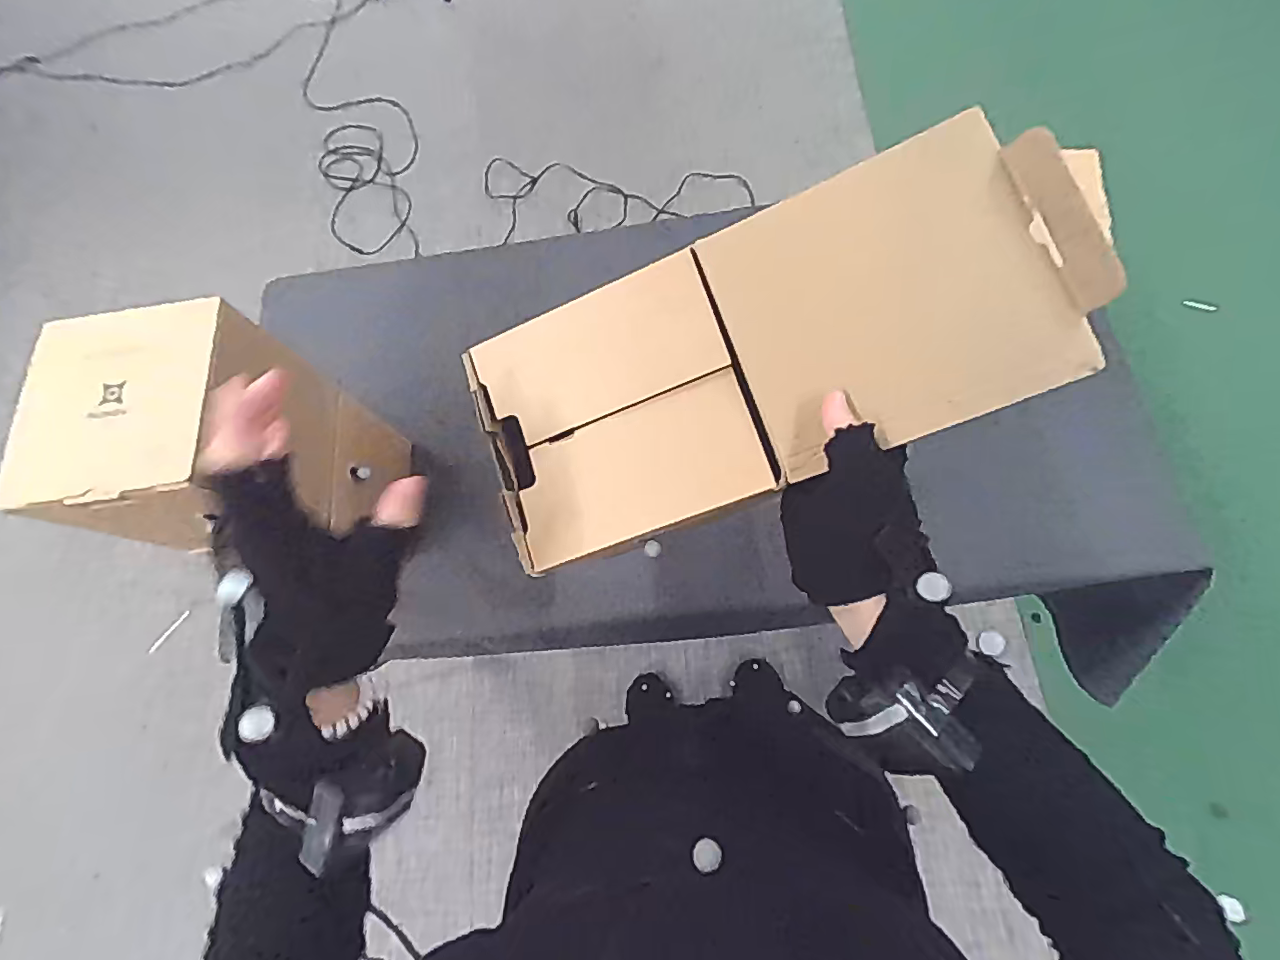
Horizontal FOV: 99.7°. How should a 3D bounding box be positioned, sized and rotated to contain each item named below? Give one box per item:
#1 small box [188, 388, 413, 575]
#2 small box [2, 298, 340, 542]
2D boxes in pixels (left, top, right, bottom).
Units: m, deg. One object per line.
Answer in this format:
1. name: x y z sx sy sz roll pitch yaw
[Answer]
1. small box: -0.401 0.011 0.674 0.168 0.176 0.179 -8 71 3
2. small box: -0.419 -0.042 0.520 0.168 0.176 0.179 -7 71 3
